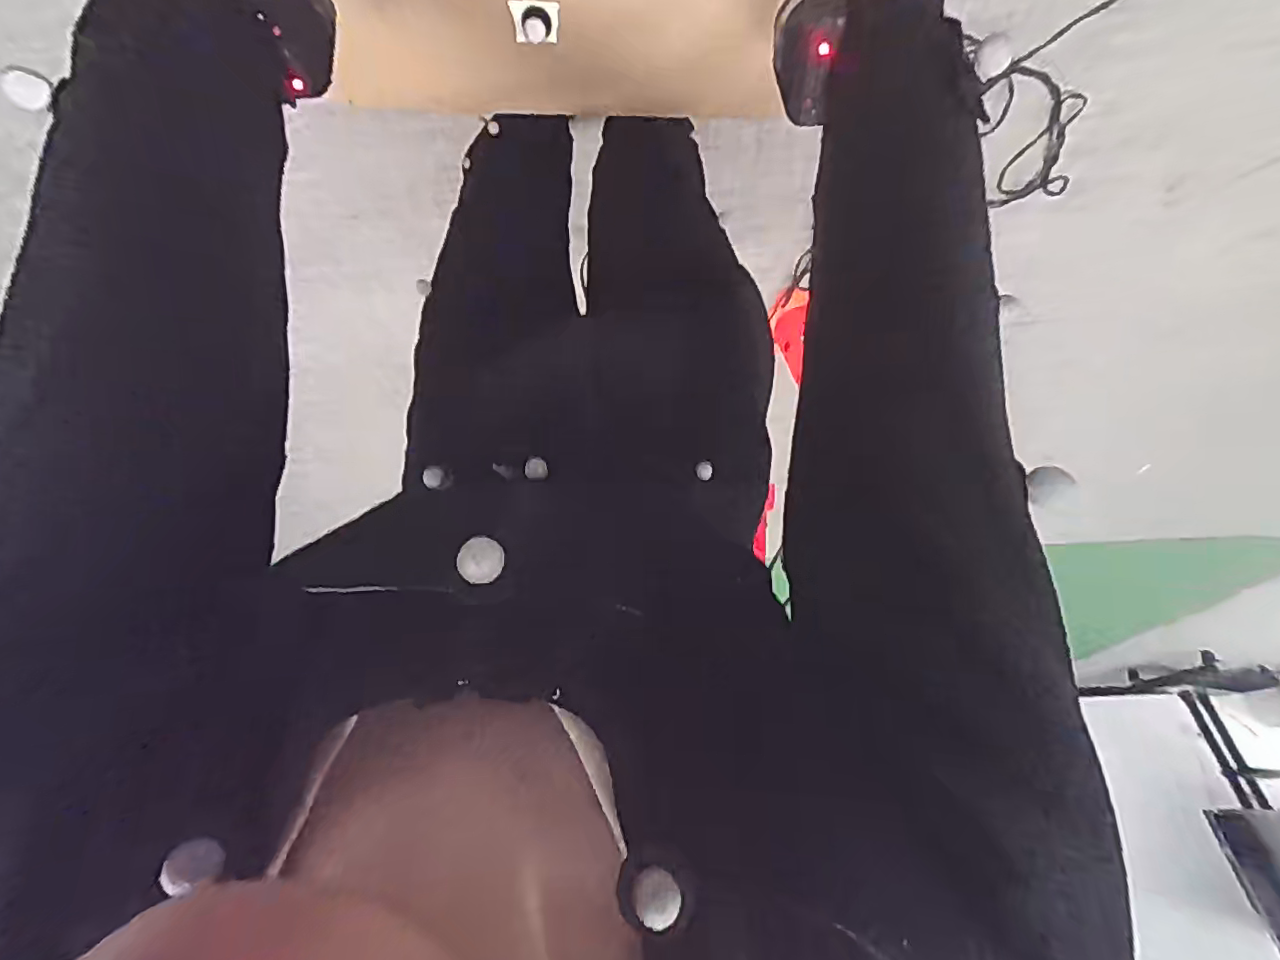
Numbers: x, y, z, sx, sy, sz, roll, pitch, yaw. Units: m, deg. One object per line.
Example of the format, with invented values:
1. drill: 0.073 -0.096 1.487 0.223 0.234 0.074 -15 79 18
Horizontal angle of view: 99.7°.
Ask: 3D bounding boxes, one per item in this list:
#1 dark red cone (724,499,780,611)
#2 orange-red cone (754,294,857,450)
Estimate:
1. dark red cone: 0.418 0.268 1.909 0.202 0.394 0.201 -7 148 10
2. orange-red cone: 0.405 -0.221 1.231 0.199 0.360 0.198 7 146 -13
